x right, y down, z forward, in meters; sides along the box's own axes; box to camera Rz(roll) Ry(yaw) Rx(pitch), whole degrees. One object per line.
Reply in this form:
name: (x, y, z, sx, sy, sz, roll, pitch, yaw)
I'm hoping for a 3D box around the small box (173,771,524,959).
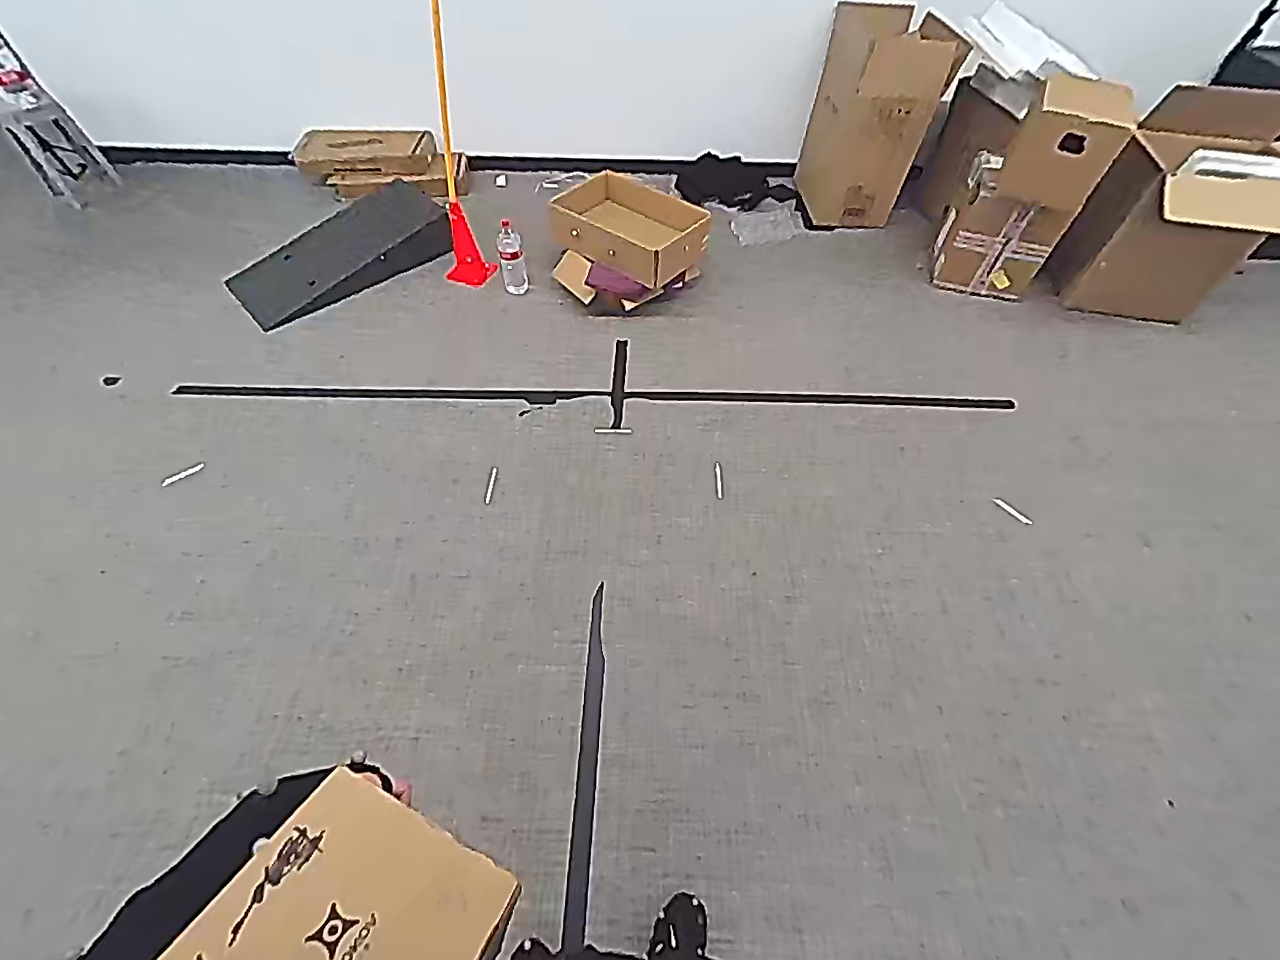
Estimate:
small box: (-0.214, 0.371, 0.407, 0.179, 0.176, 0.168, 25, 35, 10)
